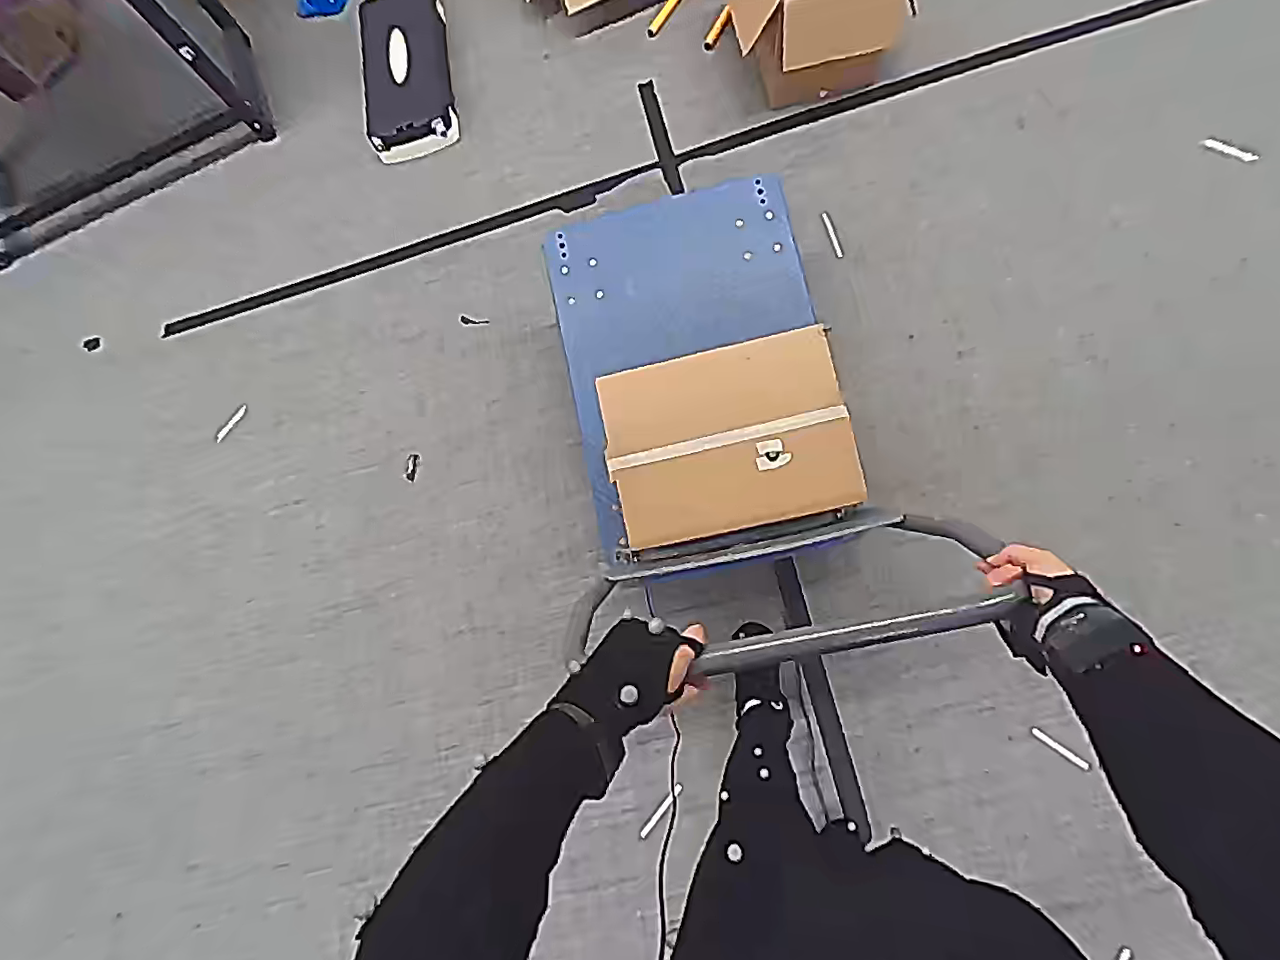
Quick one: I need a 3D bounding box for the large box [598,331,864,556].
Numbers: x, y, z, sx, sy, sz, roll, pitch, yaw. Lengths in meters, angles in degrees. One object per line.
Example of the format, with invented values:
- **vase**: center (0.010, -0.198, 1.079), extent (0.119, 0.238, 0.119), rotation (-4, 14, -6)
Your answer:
- **large box**: center (0.162, -0.050, 1.075), extent (0.408, 0.320, 0.320), rotation (-13, 85, 4)
